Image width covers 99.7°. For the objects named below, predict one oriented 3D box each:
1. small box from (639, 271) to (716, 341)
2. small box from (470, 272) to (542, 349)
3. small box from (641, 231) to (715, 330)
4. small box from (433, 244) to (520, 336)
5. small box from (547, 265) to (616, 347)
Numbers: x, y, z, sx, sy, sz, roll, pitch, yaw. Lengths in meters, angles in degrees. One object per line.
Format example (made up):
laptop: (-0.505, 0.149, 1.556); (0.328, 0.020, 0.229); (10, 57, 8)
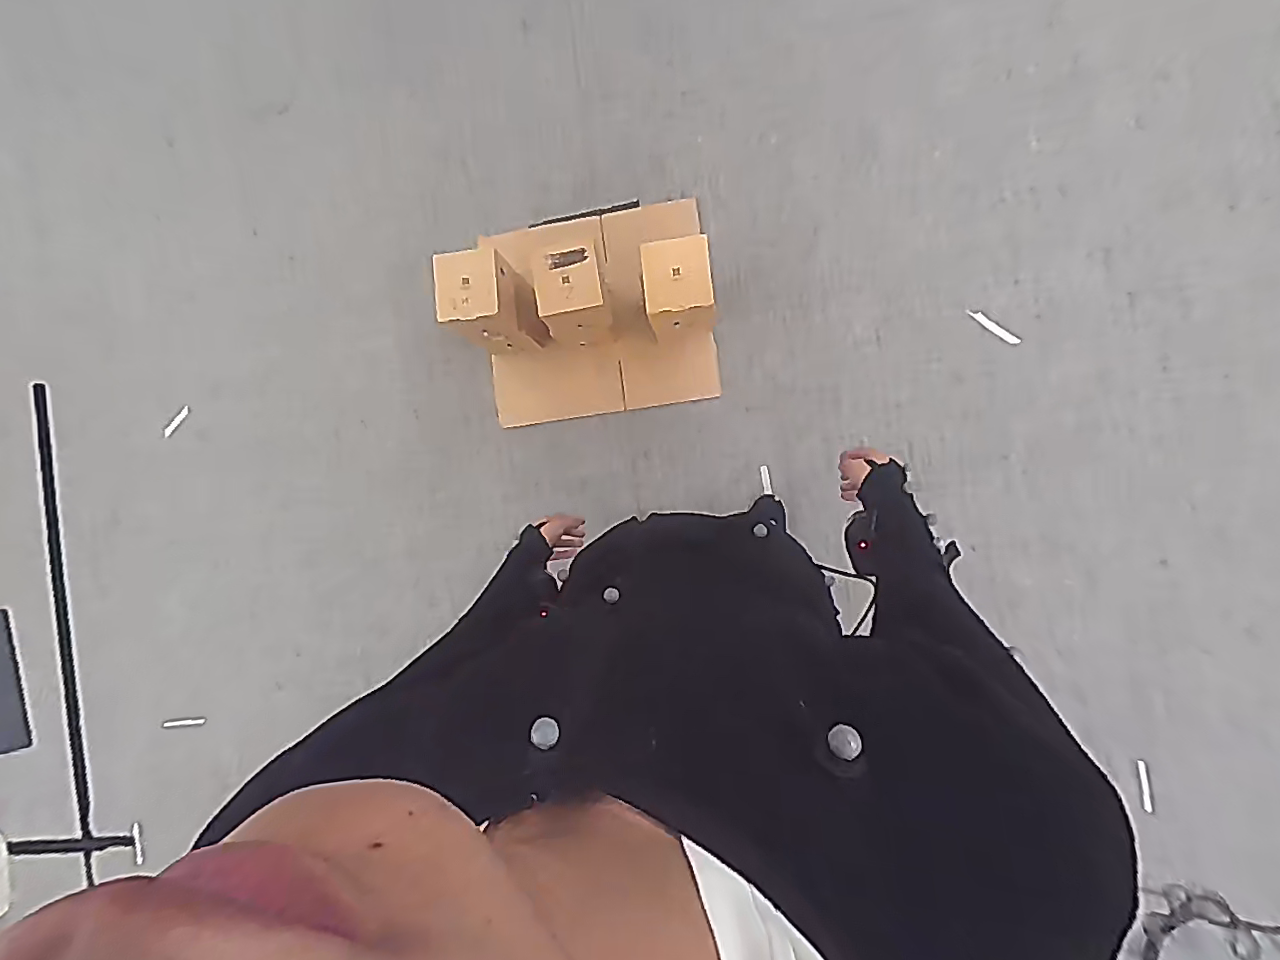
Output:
small box: (0.111, -0.510, 1.534); (0.179, 0.176, 0.168); (-16, 88, 6)
small box: (-0.396, -0.490, 1.592); (0.168, 0.176, 0.179); (-5, 90, 7)
small box: (0.098, -0.499, 1.372); (0.168, 0.176, 0.179); (-7, 90, 6)
small box: (-0.426, -0.496, 1.430); (0.168, 0.176, 0.179); (-4, 90, 8)
small box: (-0.166, -0.499, 1.566); (0.168, 0.176, 0.179); (-4, 89, 6)
